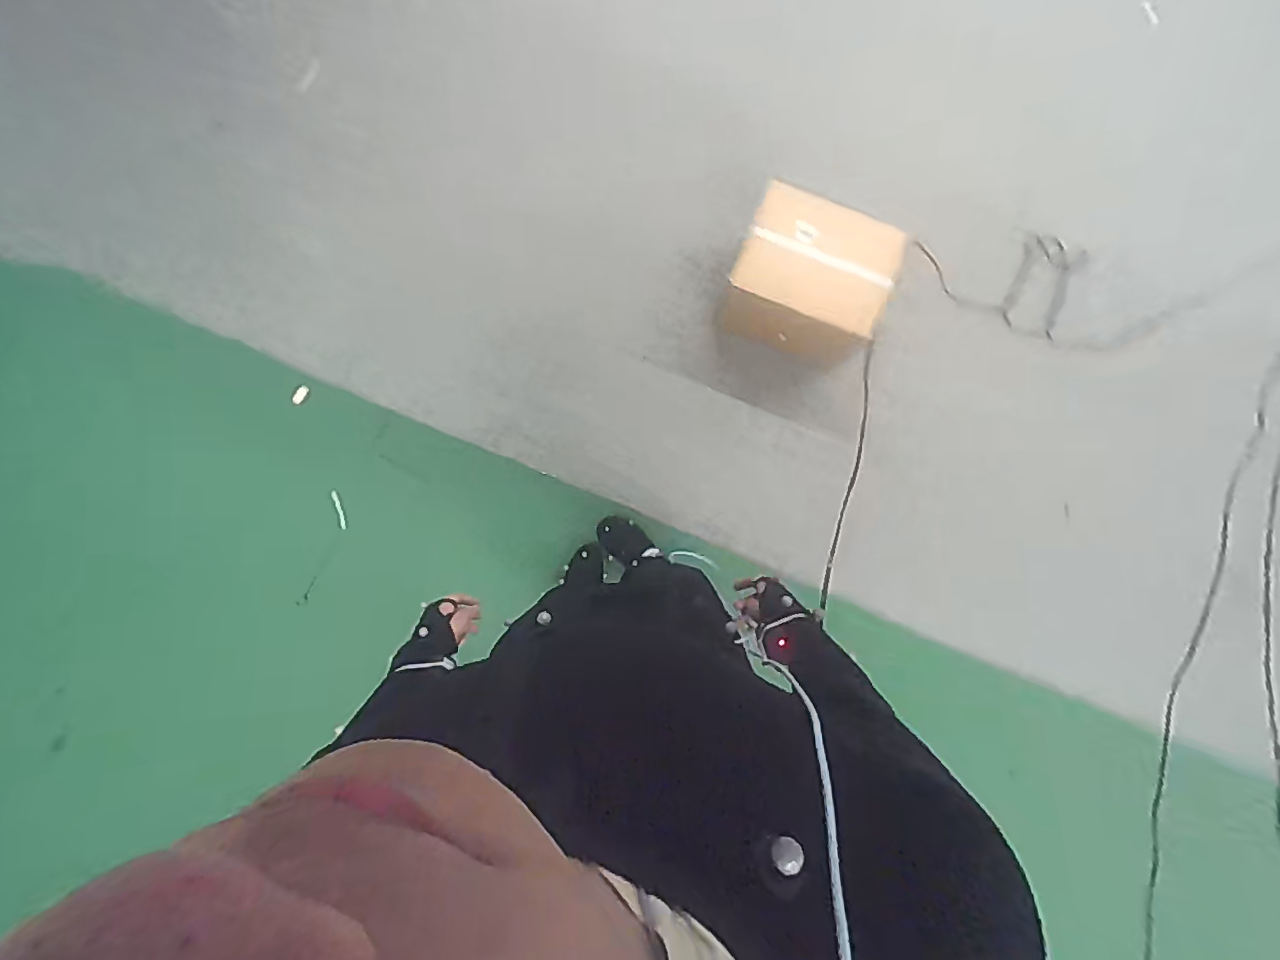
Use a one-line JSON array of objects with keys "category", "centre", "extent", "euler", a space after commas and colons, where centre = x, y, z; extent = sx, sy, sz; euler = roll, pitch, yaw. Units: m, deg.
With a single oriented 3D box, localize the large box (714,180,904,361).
[{"category": "large box", "centre": [0.469, -0.586, 1.575], "extent": [0.408, 0.320, 0.320], "euler": [20, 85, 2]}]
